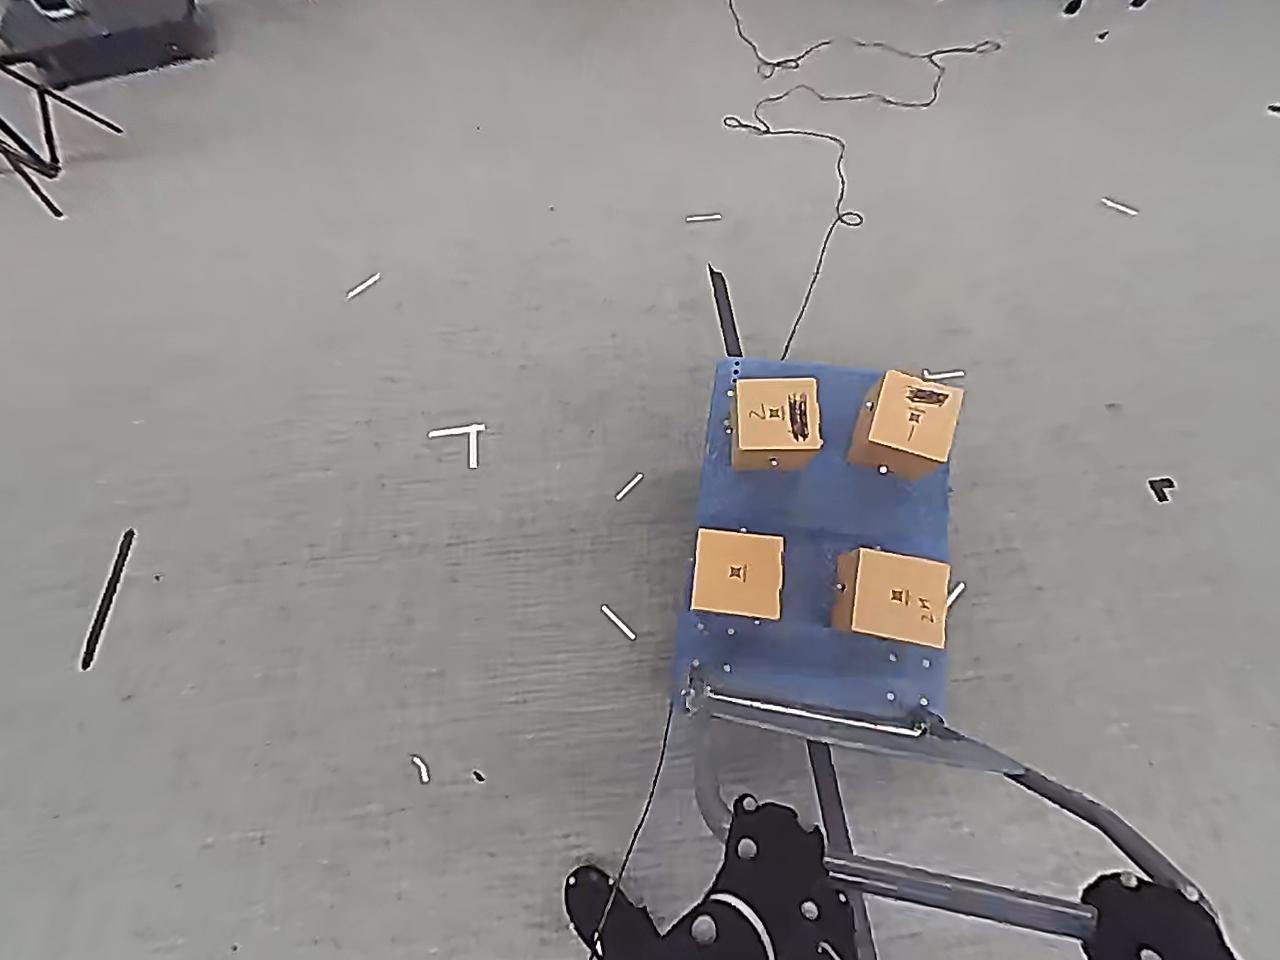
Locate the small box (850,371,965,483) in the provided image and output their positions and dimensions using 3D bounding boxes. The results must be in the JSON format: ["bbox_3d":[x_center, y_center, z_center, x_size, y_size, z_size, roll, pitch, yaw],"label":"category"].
[{"bbox_3d":[0.595,-0.114,1.222,0.168,0.176,0.179,19,78,9],"label":"small box"}]

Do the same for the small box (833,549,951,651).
[{"bbox_3d":[0.516,0.253,1.127,0.179,0.176,0.168,11,76,8],"label":"small box"}]

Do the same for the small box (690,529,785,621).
[{"bbox_3d":[0.203,0.209,1.164,0.179,0.176,0.168,6,75,4],"label":"small box"}]
